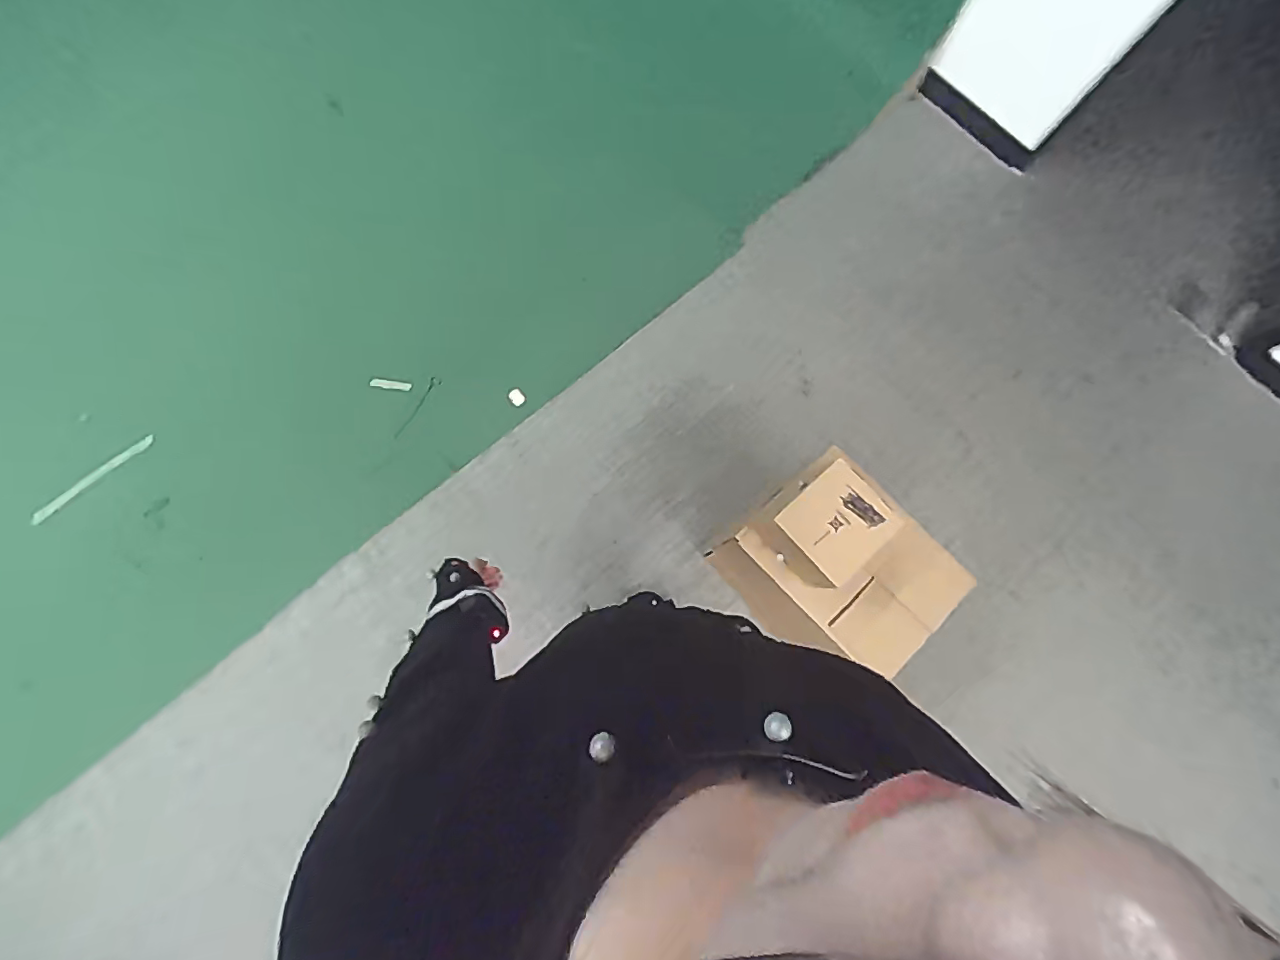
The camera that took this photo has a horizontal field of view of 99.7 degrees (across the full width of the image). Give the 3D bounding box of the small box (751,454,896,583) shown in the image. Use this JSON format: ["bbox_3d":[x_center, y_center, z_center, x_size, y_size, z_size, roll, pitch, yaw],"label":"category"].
[{"bbox_3d":[0.342,0.078,1.045,0.179,0.176,0.168,-40,84,-7],"label":"small box"}]
